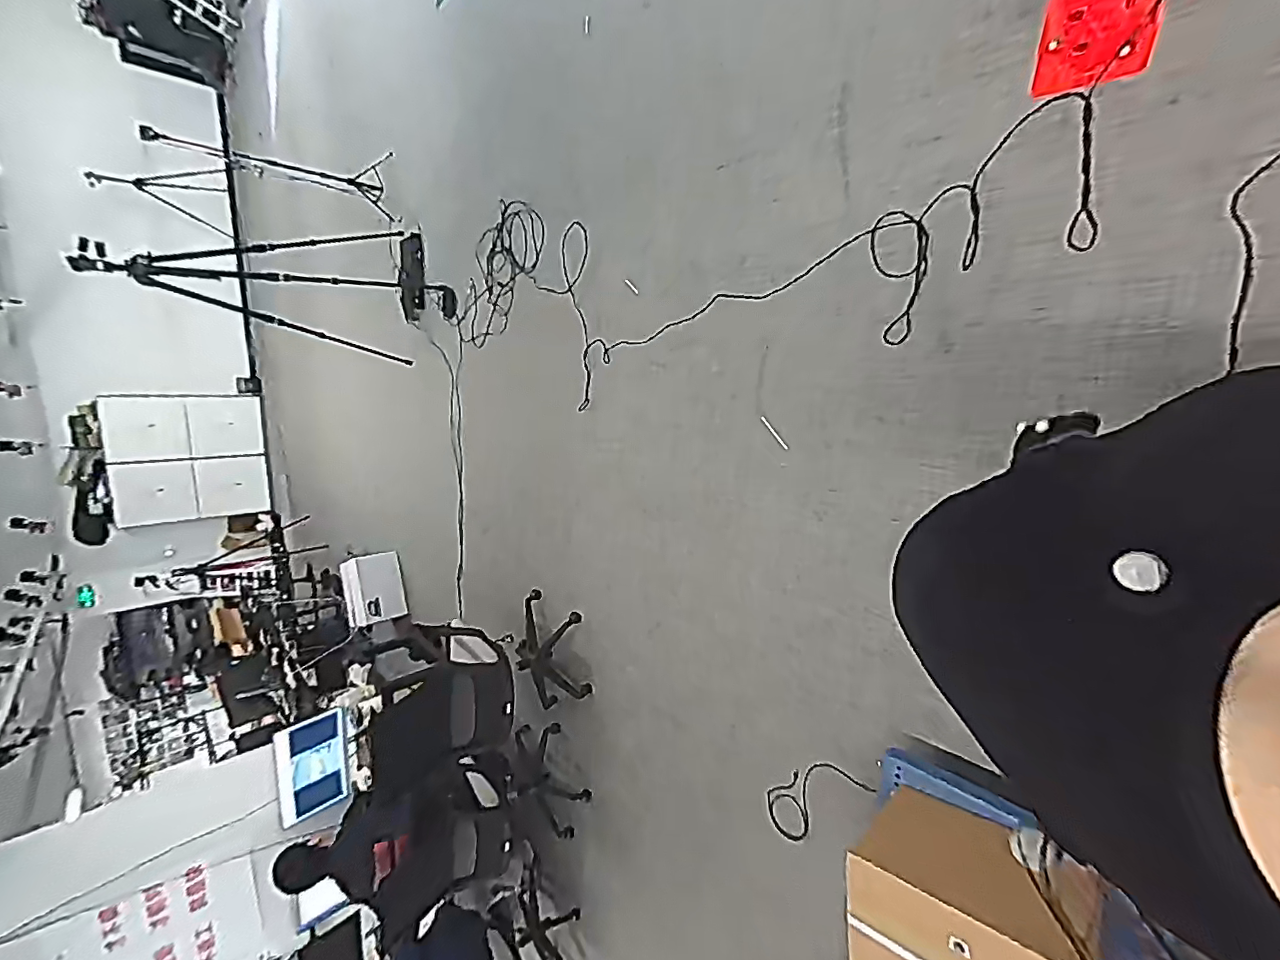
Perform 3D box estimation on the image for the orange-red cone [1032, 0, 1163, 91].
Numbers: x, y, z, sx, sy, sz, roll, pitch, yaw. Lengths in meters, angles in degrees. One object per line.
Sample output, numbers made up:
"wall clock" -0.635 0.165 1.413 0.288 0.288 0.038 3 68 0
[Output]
"orange-red cone" 0.814 -0.909 0.988 0.198 0.360 0.199 17 108 43
